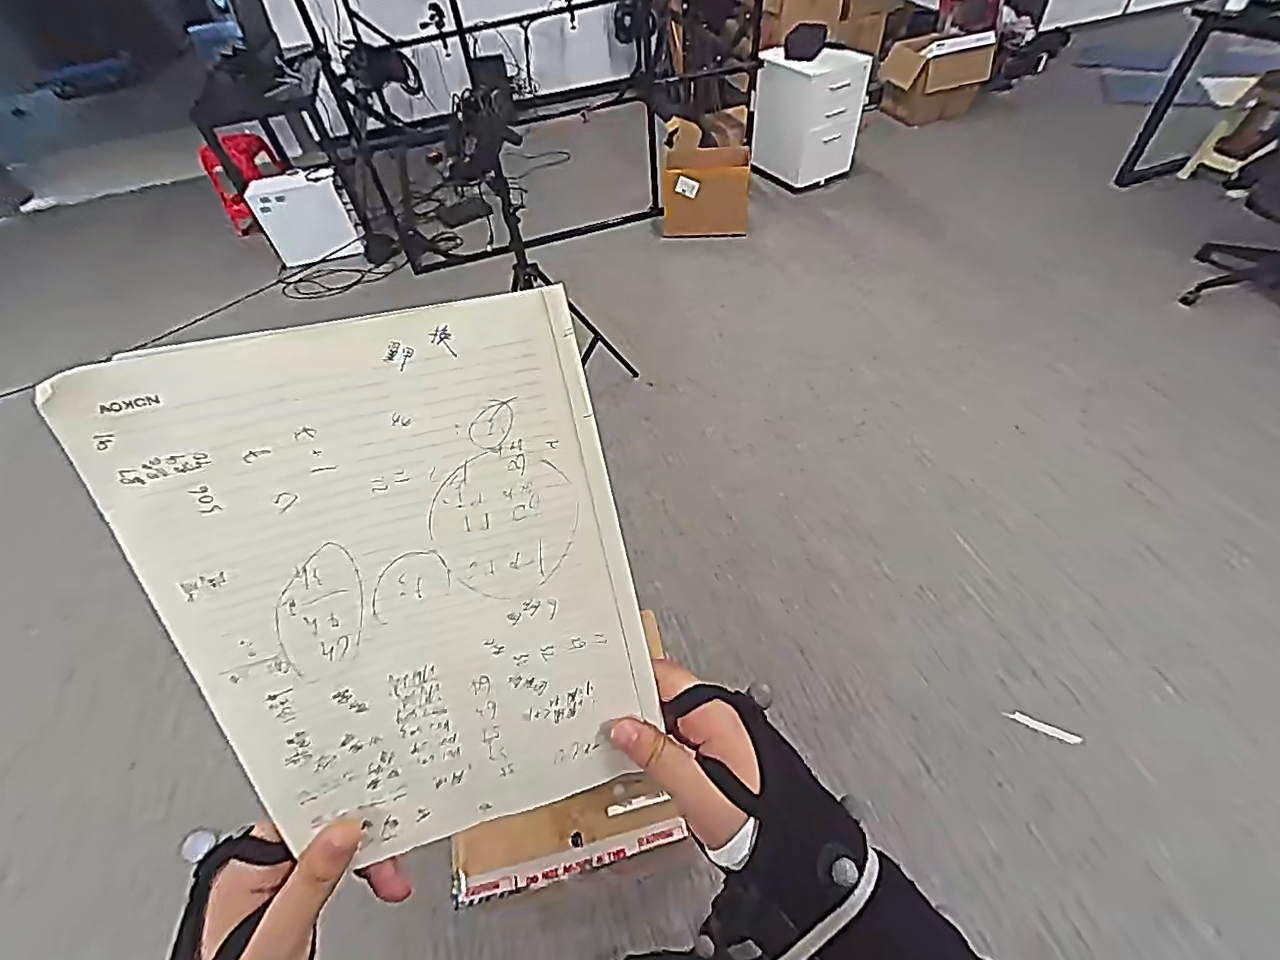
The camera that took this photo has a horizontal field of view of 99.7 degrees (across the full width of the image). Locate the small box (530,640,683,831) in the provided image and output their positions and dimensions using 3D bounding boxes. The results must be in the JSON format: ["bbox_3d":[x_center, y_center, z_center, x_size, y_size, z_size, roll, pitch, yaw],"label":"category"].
[{"bbox_3d":[-0.046,0.339,0.716,0.168,0.176,0.179,-10,52,-6],"label":"small box"}]

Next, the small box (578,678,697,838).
[{"bbox_3d":[-0.022,0.437,0.848,0.179,0.176,0.168,-14,52,-8],"label":"small box"}]
